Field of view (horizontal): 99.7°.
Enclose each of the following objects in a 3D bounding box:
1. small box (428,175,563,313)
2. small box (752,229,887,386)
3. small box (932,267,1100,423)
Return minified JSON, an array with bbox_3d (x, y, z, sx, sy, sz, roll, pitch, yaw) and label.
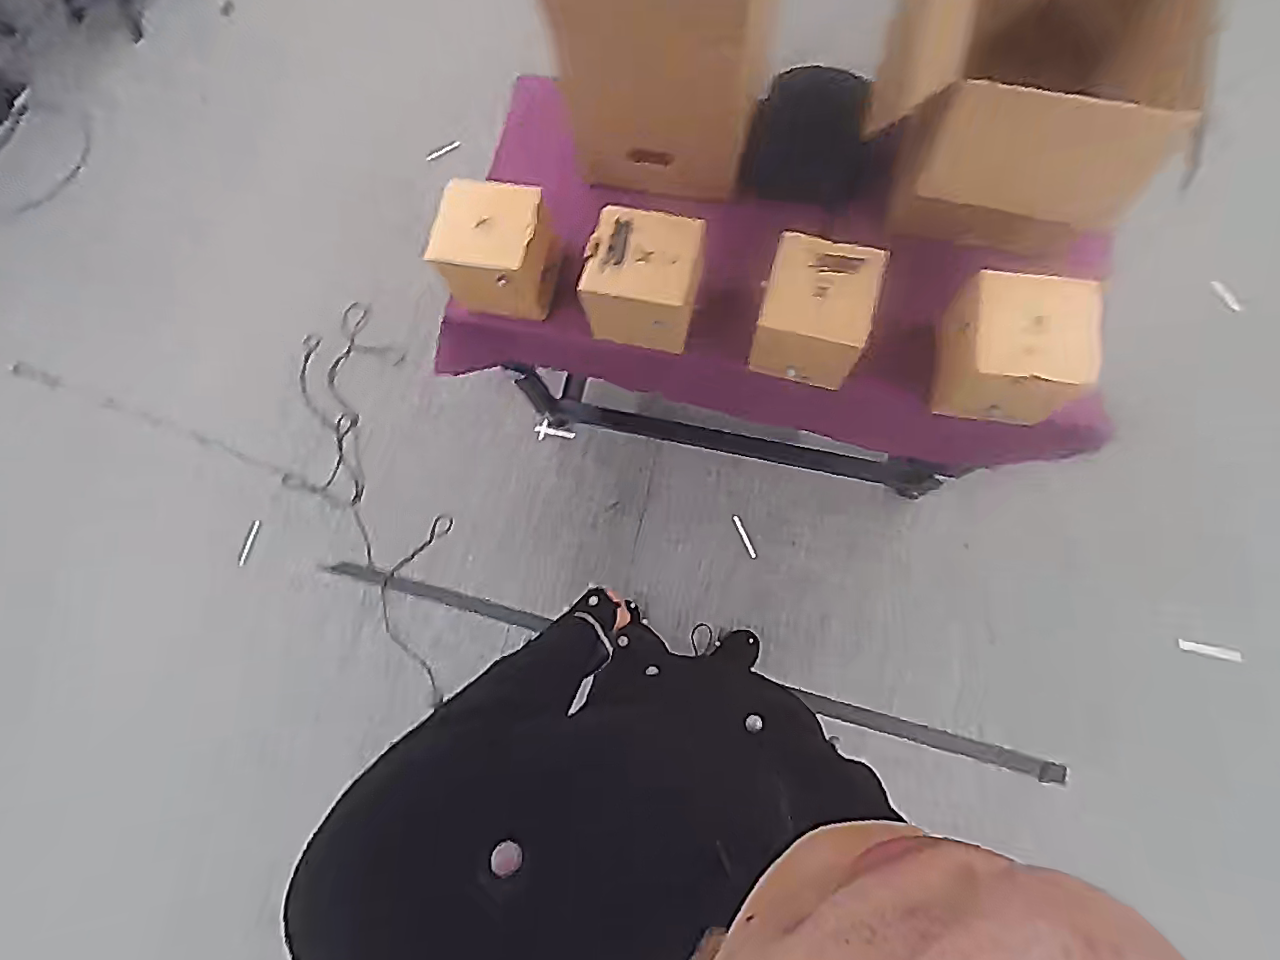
[{"bbox_3d":[-0.259,-0.433,1.013,0.179,0.176,0.168,10,78,6],"label":"small box"},{"bbox_3d":[0.296,-0.287,0.924,0.168,0.176,0.179,16,80,9],"label":"small box"},{"bbox_3d":[0.596,-0.212,0.876,0.168,0.176,0.179,10,78,9],"label":"small box"}]
